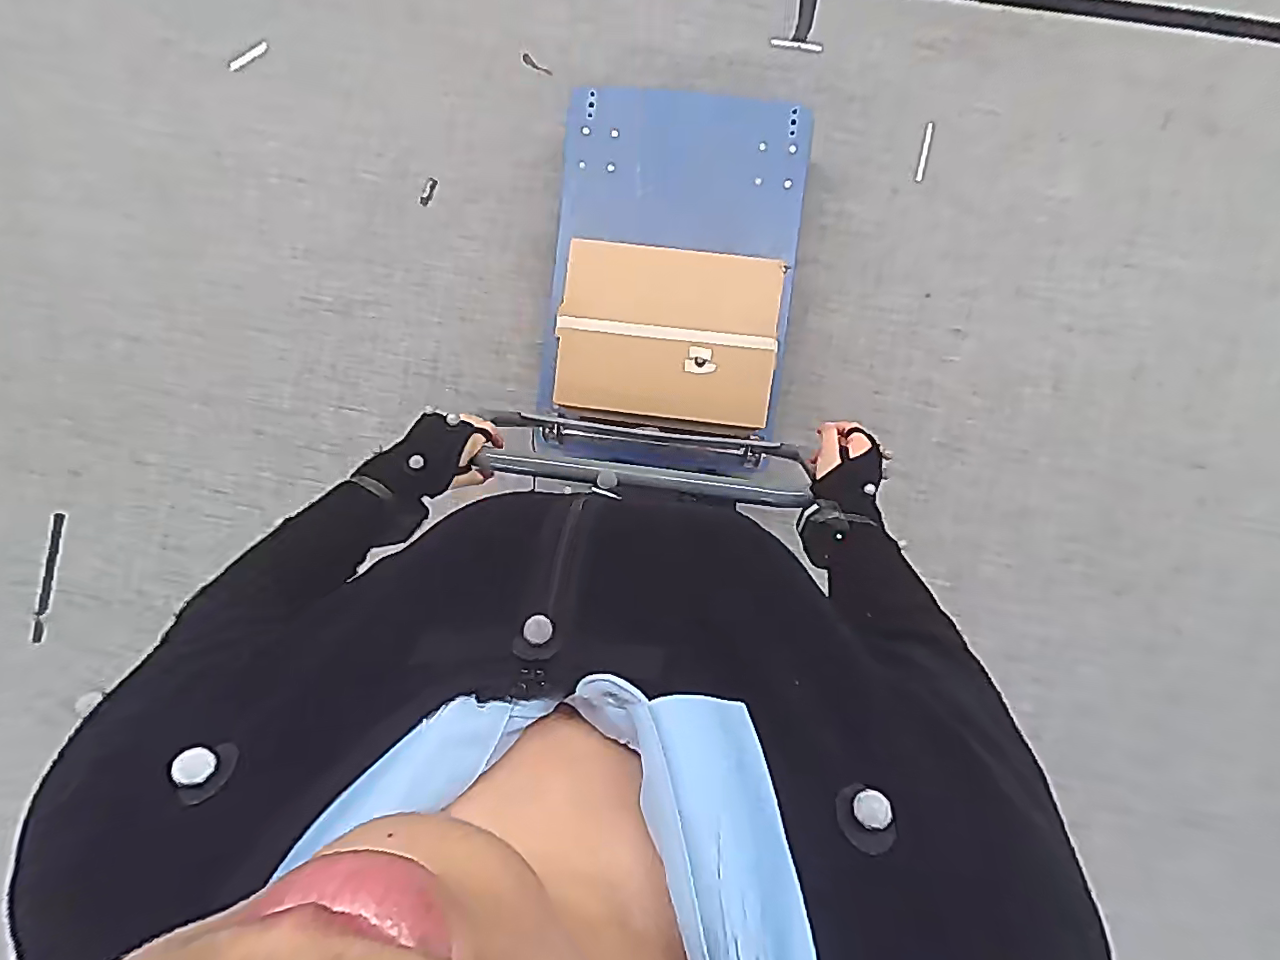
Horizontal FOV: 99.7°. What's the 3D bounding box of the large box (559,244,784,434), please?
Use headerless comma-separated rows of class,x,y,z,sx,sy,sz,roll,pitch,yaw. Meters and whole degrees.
large box,0.060,-0.278,1.167,0.408,0.320,0.320,7,93,2
